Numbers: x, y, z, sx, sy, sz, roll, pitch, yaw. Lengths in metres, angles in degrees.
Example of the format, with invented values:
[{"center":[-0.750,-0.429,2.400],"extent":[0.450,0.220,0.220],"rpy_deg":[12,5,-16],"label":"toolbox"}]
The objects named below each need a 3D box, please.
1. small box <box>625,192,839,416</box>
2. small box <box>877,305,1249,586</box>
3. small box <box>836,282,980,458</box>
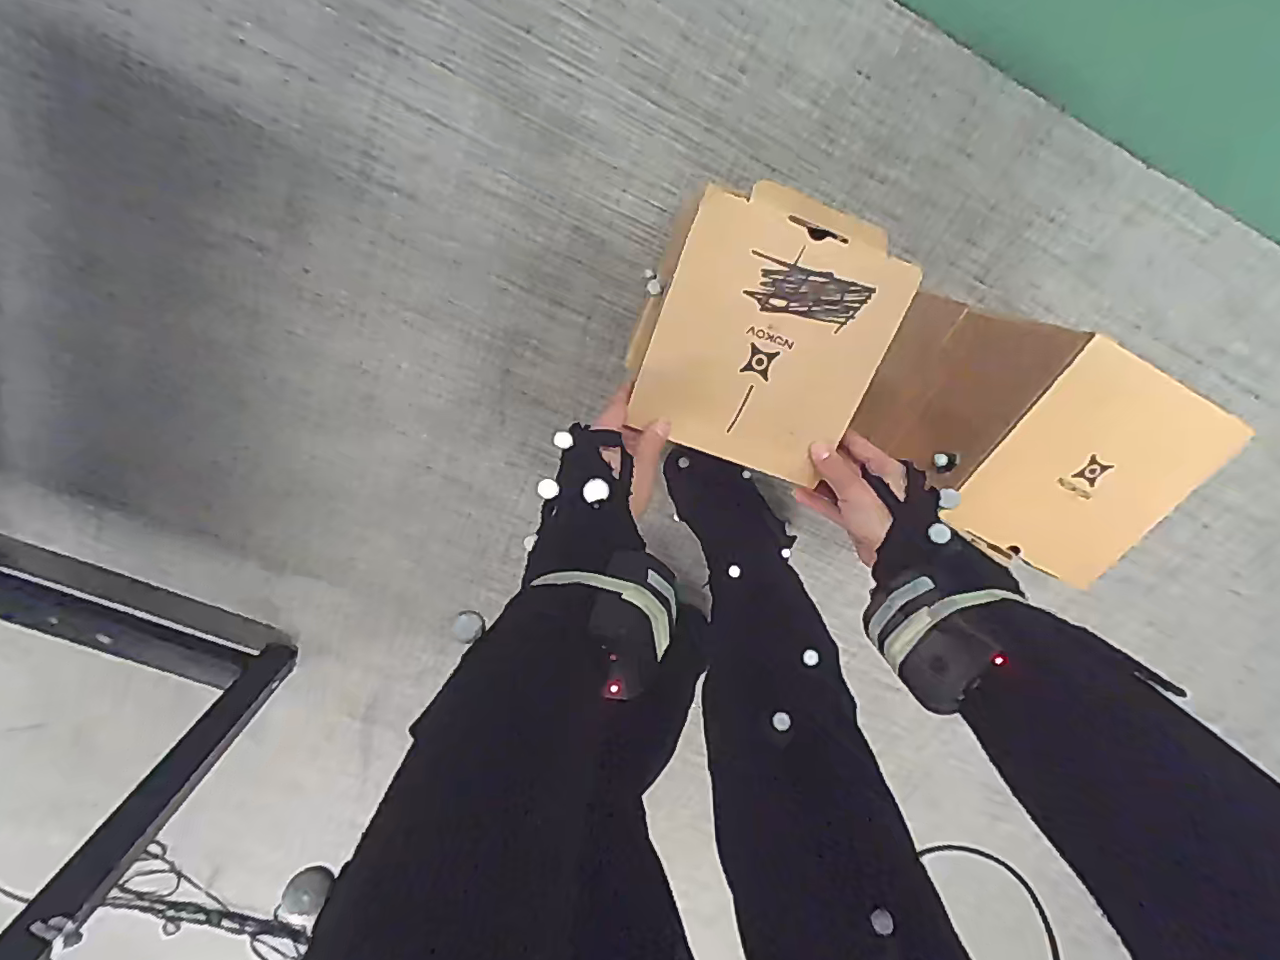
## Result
[{"center":[0.091,-0.204,0.619],"extent":[0.168,0.176,0.179],"rpy_deg":[21,116,-7],"label":"small box"},{"center":[0.358,-0.042,0.503],"extent":[0.168,0.176,0.179],"rpy_deg":[25,114,-10],"label":"small box"},{"center":[0.361,-0.113,0.650],"extent":[0.168,0.176,0.179],"rpy_deg":[24,116,-10],"label":"small box"}]
